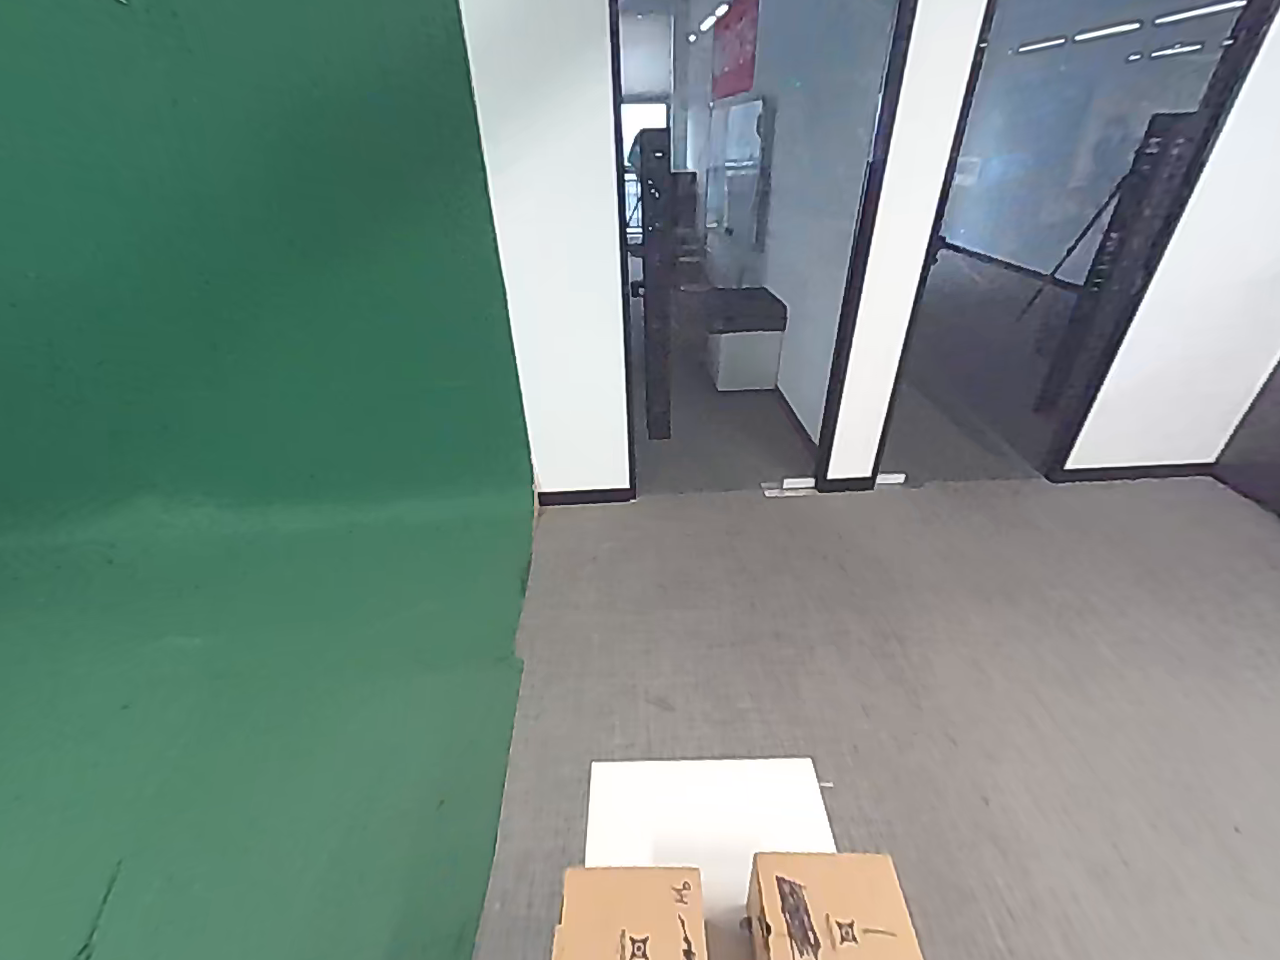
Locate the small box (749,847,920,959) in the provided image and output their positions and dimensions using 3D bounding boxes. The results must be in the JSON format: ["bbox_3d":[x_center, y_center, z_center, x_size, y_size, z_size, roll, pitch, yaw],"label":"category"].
[{"bbox_3d":[0.234,0.595,0.681,0.179,0.176,0.168,0,33,3],"label":"small box"}]

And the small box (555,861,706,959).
[{"bbox_3d":[-0.010,0.606,0.672,0.179,0.176,0.168,0,33,0],"label":"small box"}]
